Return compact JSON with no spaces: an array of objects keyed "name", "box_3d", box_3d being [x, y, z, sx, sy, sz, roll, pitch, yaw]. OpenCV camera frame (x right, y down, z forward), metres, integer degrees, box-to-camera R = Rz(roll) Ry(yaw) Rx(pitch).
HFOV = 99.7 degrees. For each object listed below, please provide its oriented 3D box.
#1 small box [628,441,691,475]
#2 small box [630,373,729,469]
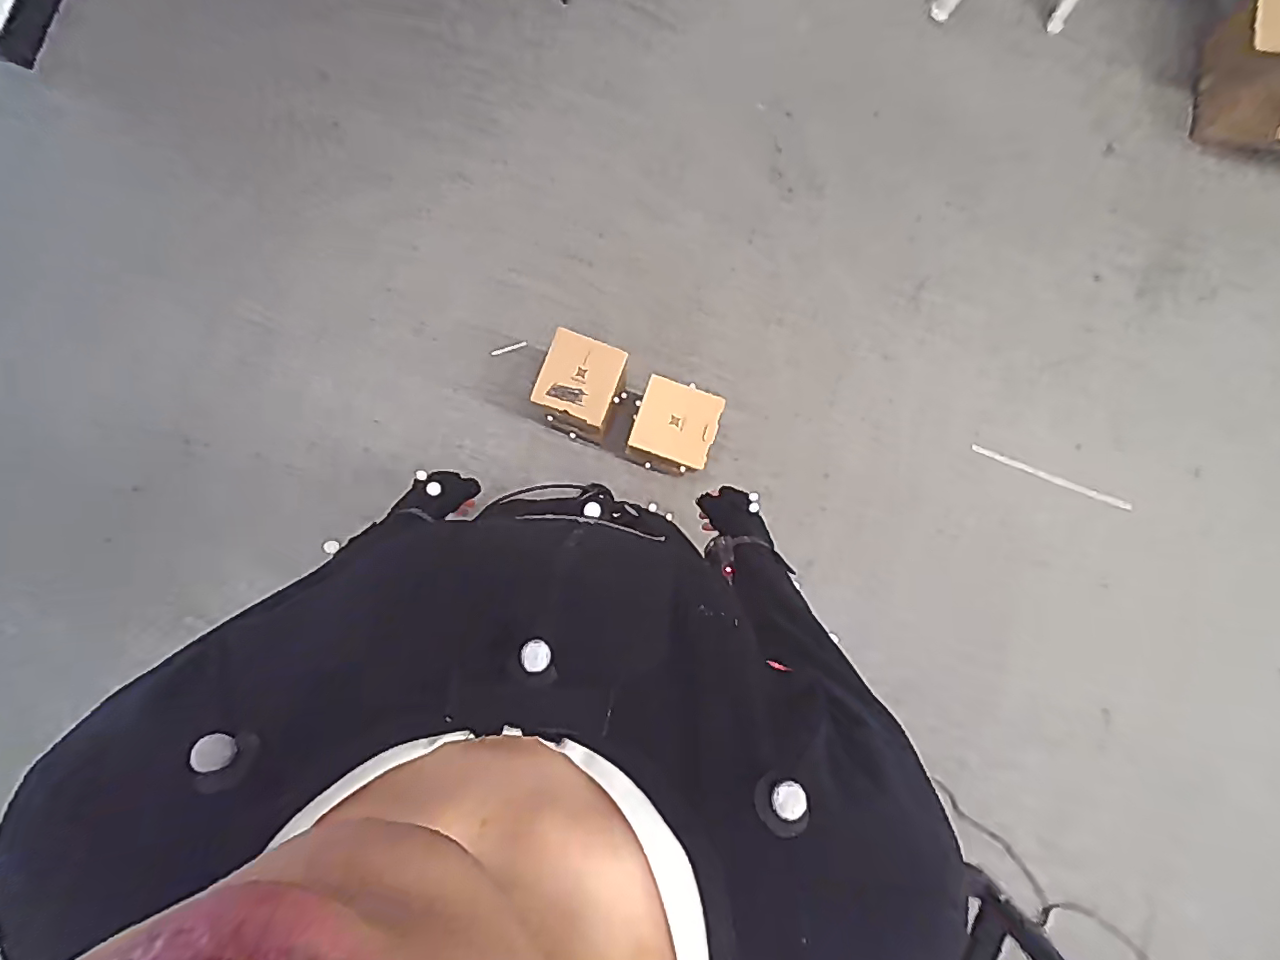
[{"name":"small box","box_3d":[0.071,-0.121,1.410,0.168,0.176,0.179,20,89,-1]},{"name":"small box","box_3d":[0.082,-0.127,1.246,0.179,0.176,0.168,19,89,-2]}]
